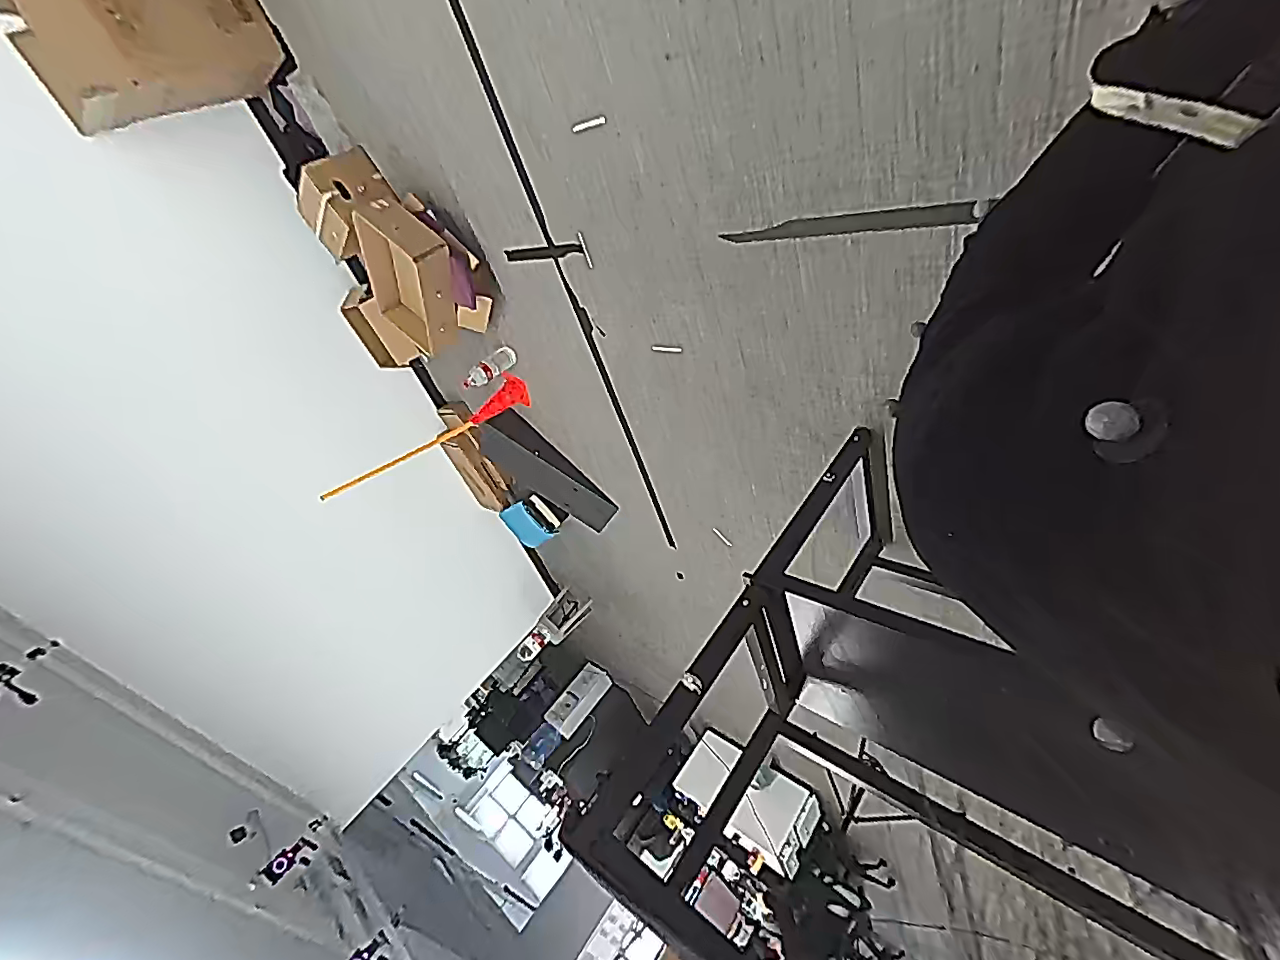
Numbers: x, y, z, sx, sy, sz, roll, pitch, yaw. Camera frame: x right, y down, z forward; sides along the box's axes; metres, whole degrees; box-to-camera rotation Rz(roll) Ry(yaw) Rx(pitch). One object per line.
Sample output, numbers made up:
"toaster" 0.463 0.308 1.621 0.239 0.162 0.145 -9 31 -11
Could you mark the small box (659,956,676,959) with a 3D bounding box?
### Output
"small box" 0.074 0.943 0.898 0.168 0.176 0.179 19 143 37
